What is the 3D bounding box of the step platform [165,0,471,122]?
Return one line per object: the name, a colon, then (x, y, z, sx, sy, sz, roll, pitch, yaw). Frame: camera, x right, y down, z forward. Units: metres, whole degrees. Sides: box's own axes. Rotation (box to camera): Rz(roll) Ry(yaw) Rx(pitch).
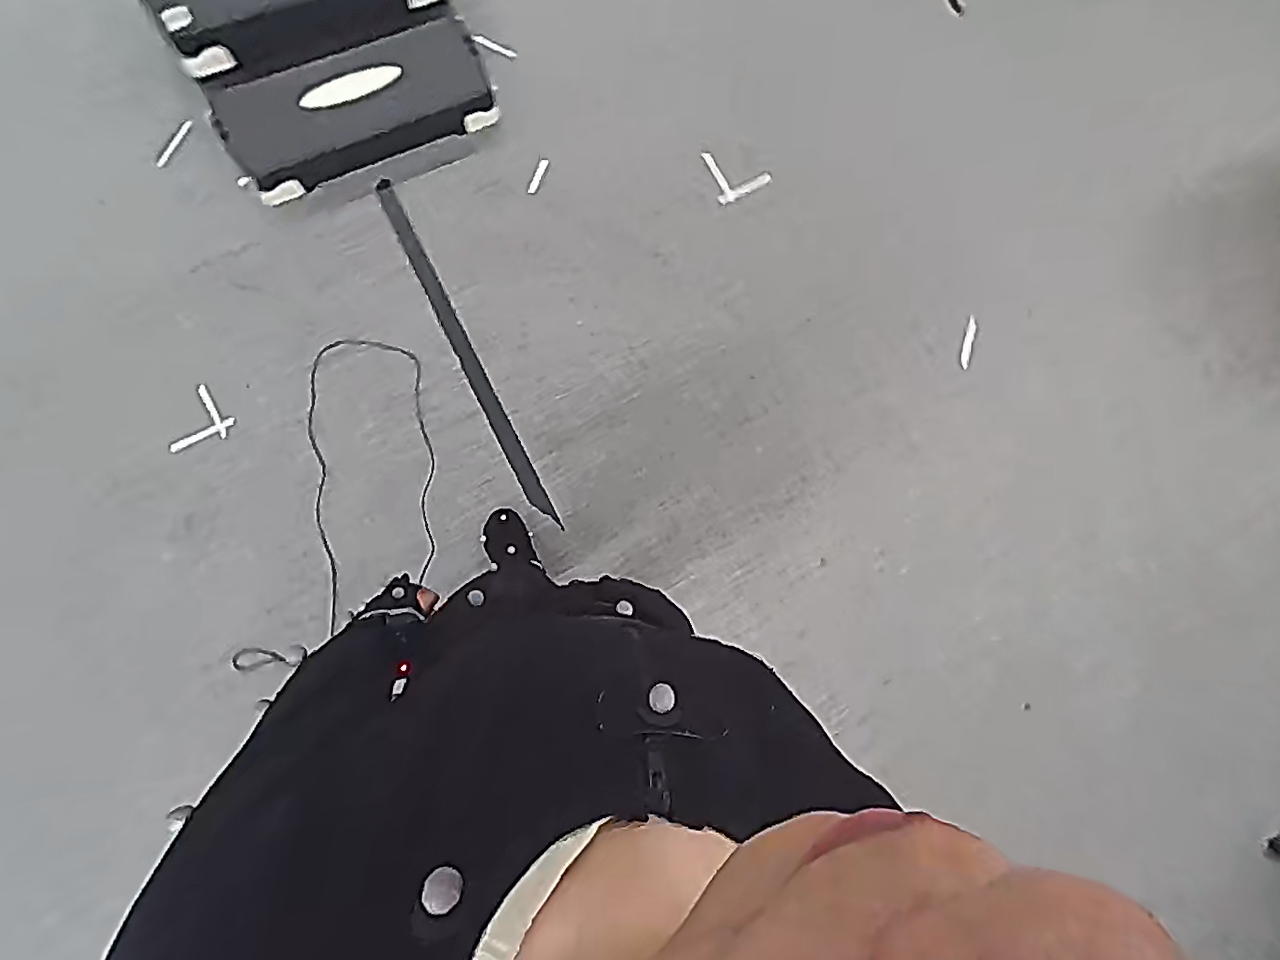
step platform: (-0.810, -1.198, 1.399, 0.684, 0.204, 0.286, -22, 86, -10)
